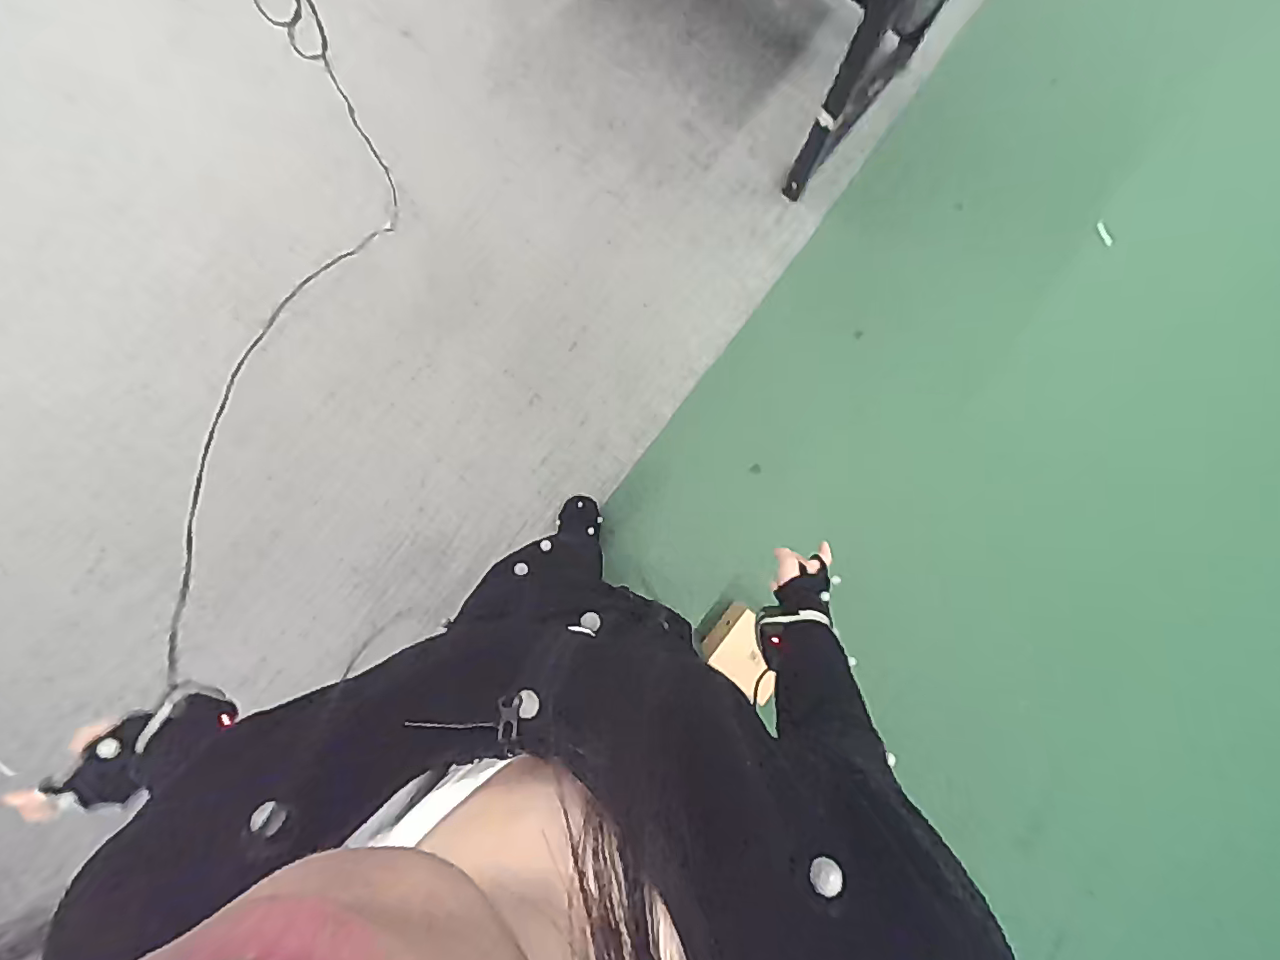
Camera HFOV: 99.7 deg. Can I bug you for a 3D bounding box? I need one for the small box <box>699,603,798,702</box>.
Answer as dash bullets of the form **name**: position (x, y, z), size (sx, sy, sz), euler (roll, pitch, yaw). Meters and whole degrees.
- **small box**: position (0.275, 0.441, 1.423), size (0.179, 0.176, 0.168), euler (38, 86, 0)
